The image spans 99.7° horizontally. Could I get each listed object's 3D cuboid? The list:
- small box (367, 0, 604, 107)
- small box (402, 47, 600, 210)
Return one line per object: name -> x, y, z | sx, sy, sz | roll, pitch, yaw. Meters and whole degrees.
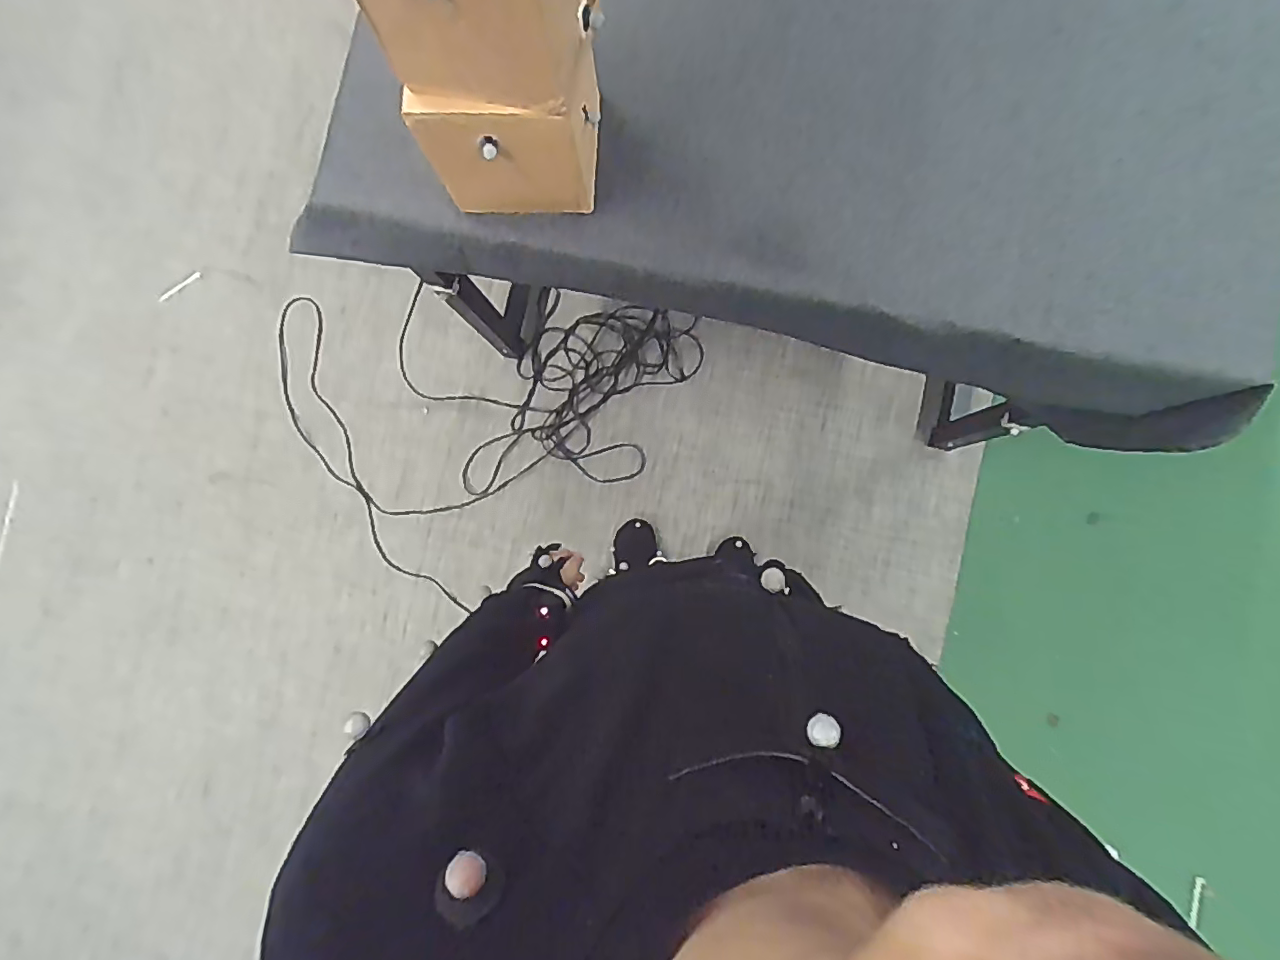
small box -> -0.135, -0.458, 0.458 | 0.179, 0.176, 0.168 | 12, 87, 4
small box -> -0.143, -0.433, 0.619 | 0.179, 0.176, 0.168 | 3, 85, 4
